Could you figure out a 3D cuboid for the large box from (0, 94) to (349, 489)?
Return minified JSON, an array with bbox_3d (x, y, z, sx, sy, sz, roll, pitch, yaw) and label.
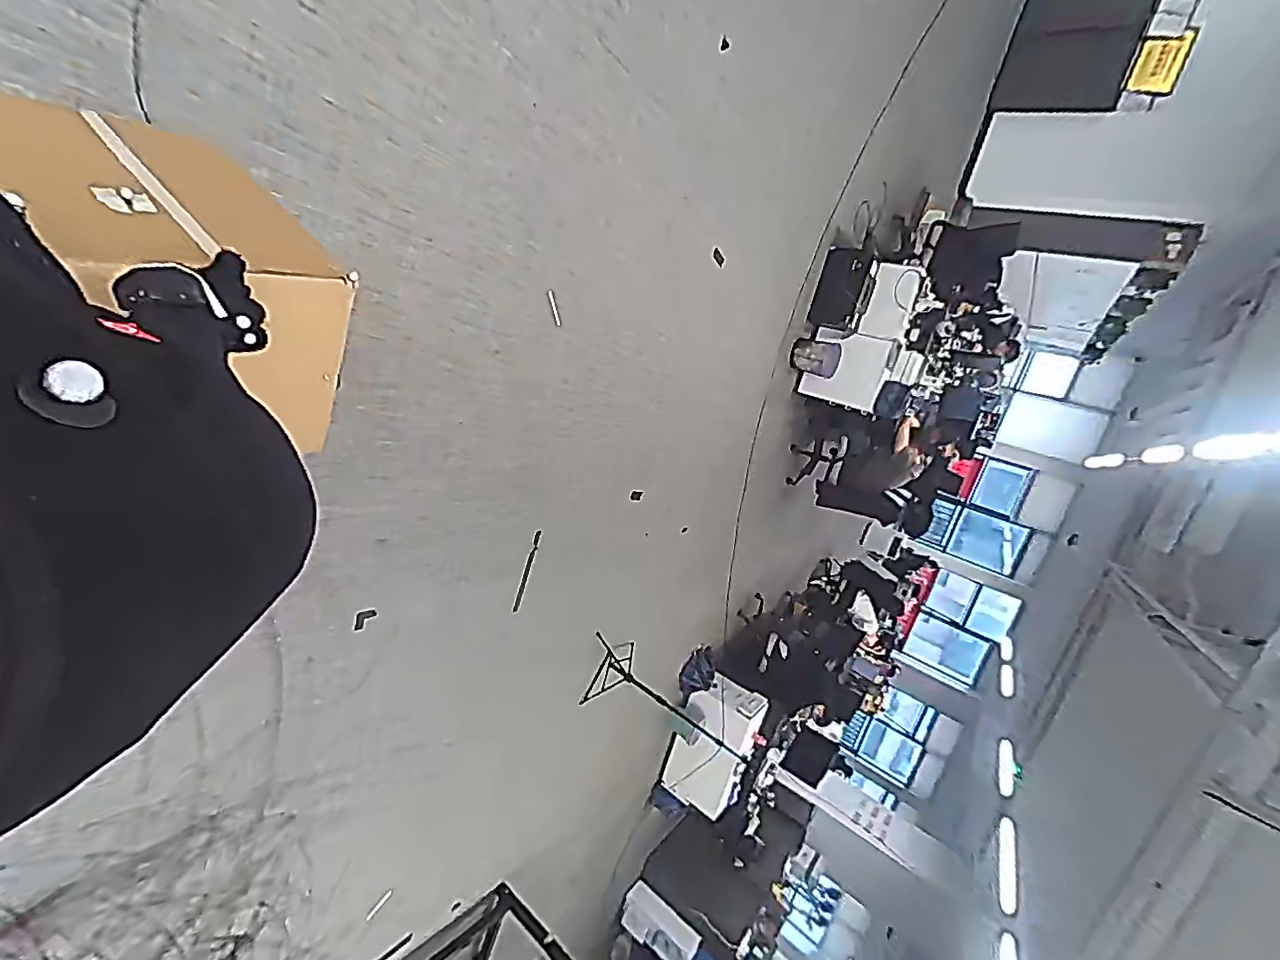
[{"bbox_3d":[-0.692,-0.256,0.755,0.320,0.408,0.320,-24,153,-53],"label":"large box"}]
